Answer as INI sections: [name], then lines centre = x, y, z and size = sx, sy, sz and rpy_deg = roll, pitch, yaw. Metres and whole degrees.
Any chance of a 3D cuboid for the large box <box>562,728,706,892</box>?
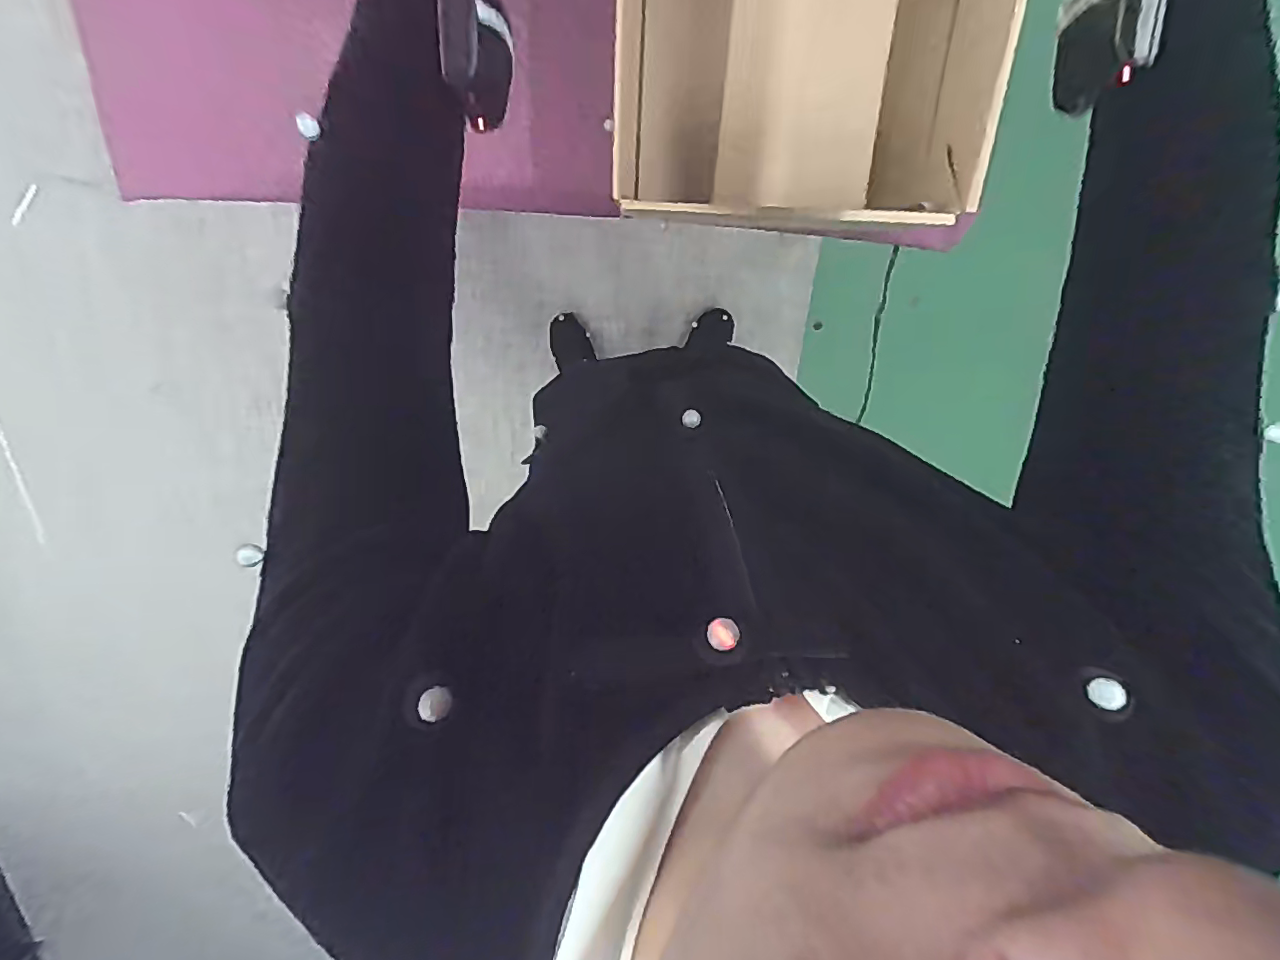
[large box]
centre = -0.016, 1.181, 1.955
size = 0.408, 0.320, 0.320
rpy_deg = -27, 107, 11
